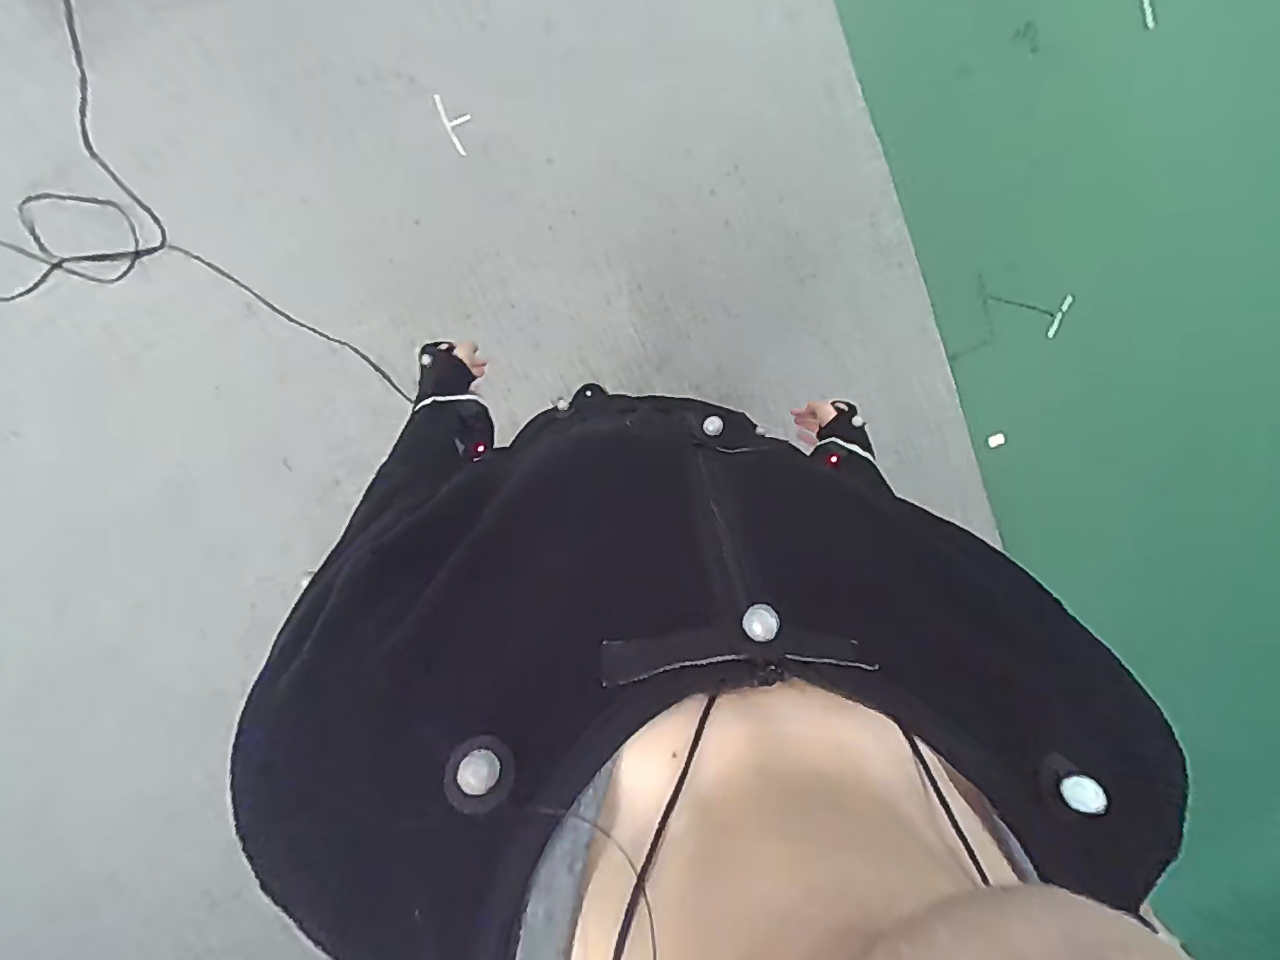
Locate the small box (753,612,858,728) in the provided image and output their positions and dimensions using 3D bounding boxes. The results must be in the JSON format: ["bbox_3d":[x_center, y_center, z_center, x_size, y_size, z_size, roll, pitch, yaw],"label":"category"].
[{"bbox_3d":[0.388,0.447,1.295,0.168,0.176,0.179,-20,99,-2],"label":"small box"}]
